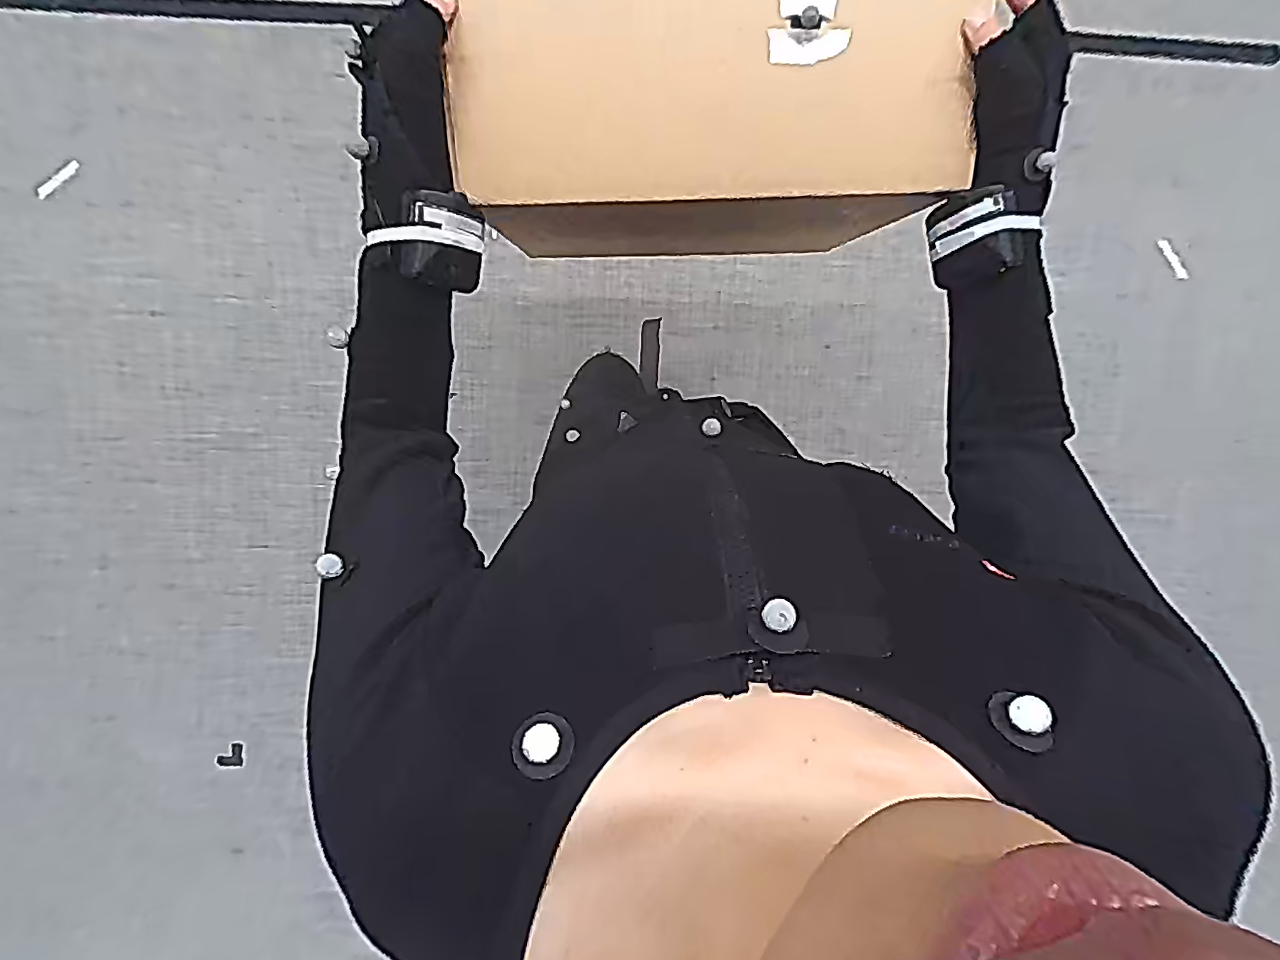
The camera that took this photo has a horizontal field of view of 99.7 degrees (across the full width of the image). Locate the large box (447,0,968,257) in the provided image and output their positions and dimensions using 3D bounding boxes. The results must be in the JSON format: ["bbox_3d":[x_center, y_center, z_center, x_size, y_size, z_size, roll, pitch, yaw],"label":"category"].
[{"bbox_3d":[0.046,-0.420,0.546,0.408,0.320,0.320,-2,106,-1],"label":"large box"}]
